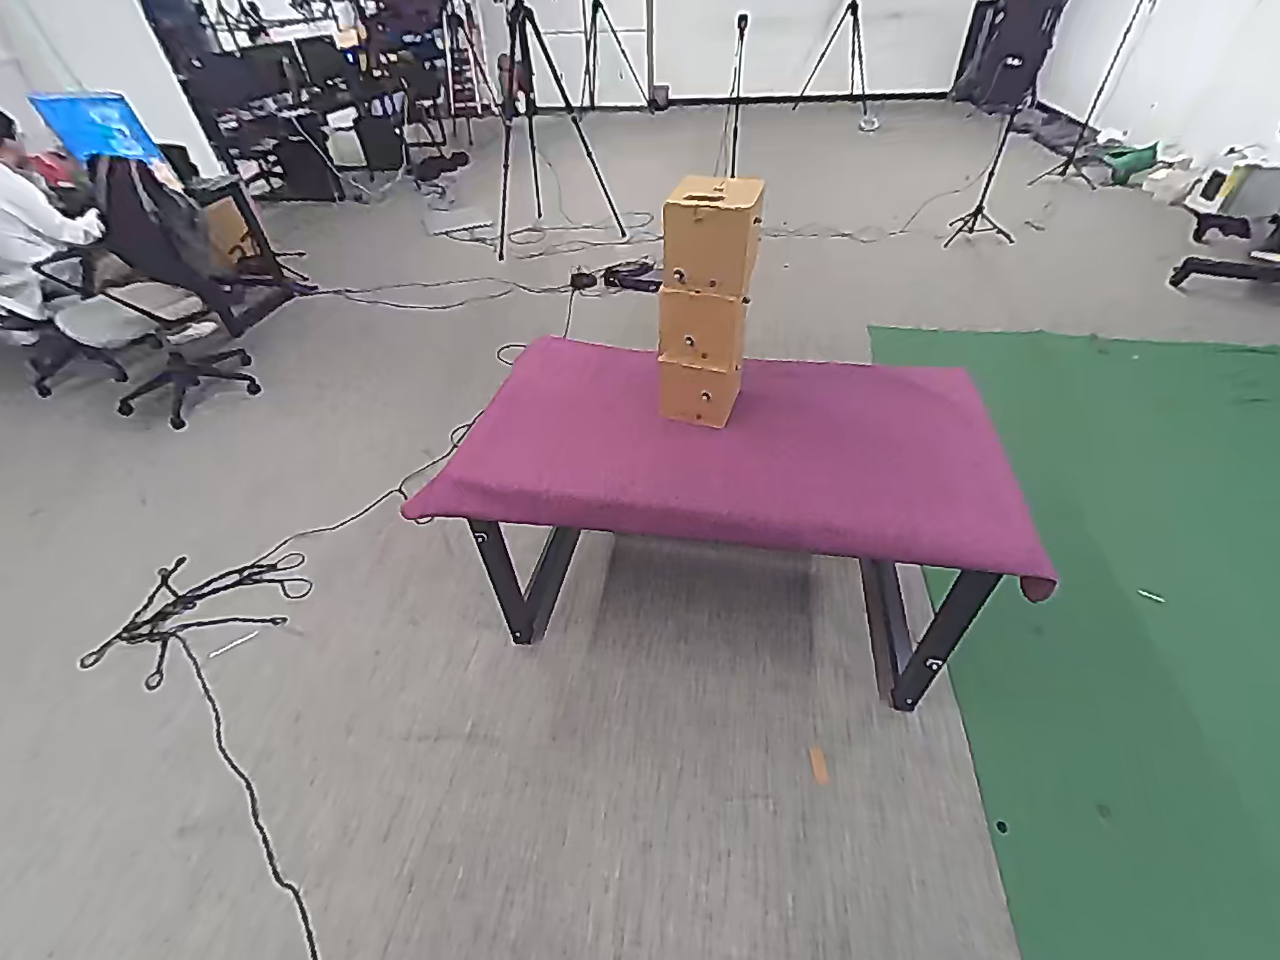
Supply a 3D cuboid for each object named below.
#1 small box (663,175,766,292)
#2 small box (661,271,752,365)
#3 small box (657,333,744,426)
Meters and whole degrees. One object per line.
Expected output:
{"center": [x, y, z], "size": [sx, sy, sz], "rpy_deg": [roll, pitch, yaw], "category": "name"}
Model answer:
{"center": [0.151, -0.499, 1.097], "size": [0.168, 0.176, 0.179], "rpy_deg": [12, 46, 14], "category": "small box"}
{"center": [0.146, -0.377, 1.207], "size": [0.168, 0.176, 0.179], "rpy_deg": [11, 46, 13], "category": "small box"}
{"center": [0.148, -0.252, 1.310], "size": [0.168, 0.176, 0.179], "rpy_deg": [13, 45, 16], "category": "small box"}
